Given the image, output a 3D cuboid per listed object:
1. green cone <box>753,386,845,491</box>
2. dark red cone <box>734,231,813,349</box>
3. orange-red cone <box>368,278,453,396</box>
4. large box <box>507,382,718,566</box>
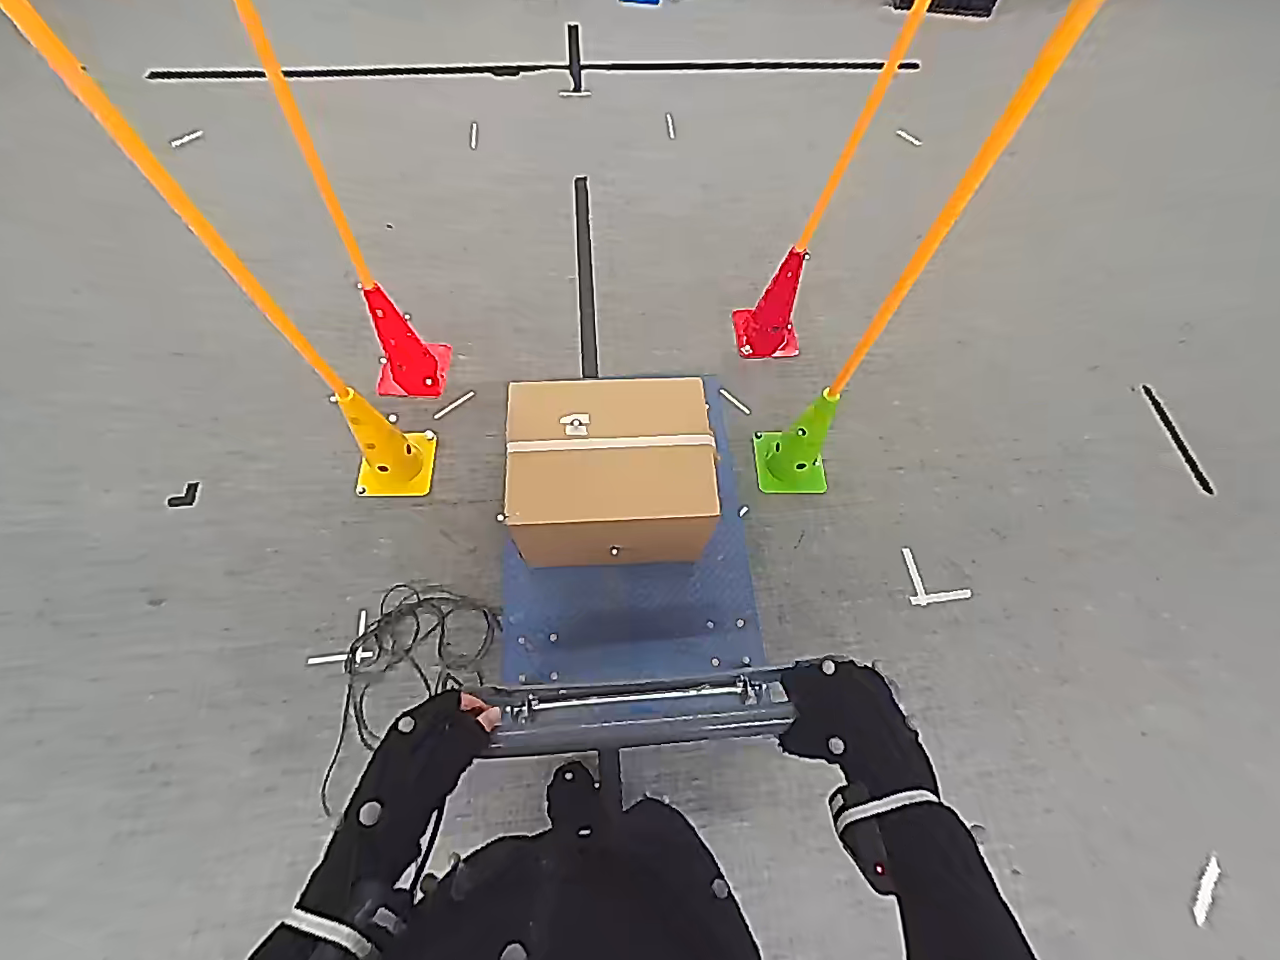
[{"bbox_3d":[0.454,-0.131,1.452,0.202,0.368,0.200,1,65,-4],"label":"green cone"},{"bbox_3d":[0.434,-0.579,1.639,0.201,0.394,0.202,-3,66,-6],"label":"dark red cone"},{"bbox_3d":[-0.685,-0.426,1.531,0.198,0.360,0.199,4,64,-2],"label":"orange-red cone"},{"bbox_3d":[-0.063,0.000,1.207,0.408,0.320,0.320,-2,66,-3],"label":"large box"}]
